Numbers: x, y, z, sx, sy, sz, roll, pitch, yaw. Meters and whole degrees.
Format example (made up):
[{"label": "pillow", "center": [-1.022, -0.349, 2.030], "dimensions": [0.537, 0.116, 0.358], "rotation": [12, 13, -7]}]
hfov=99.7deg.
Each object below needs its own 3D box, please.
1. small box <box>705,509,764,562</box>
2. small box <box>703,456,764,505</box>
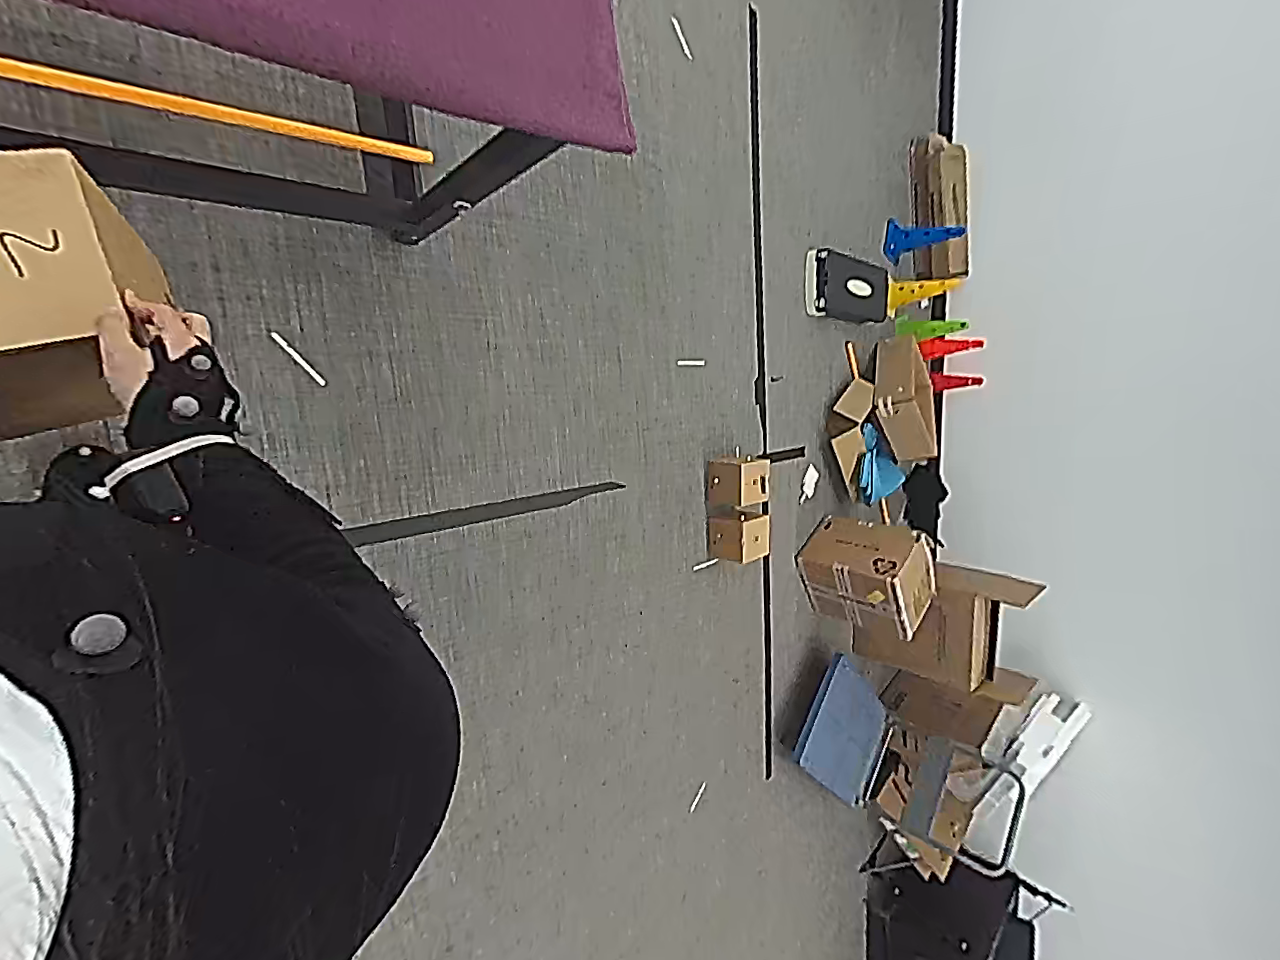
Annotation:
[{"label": "small box", "center": [0.381, 0.219, 2.185], "dimensions": [0.179, 0.176, 0.168], "rotation": [-11, 104, -41]}, {"label": "small box", "center": [0.369, -0.003, 2.140], "dimensions": [0.179, 0.176, 0.168], "rotation": [-8, 101, -41]}]
